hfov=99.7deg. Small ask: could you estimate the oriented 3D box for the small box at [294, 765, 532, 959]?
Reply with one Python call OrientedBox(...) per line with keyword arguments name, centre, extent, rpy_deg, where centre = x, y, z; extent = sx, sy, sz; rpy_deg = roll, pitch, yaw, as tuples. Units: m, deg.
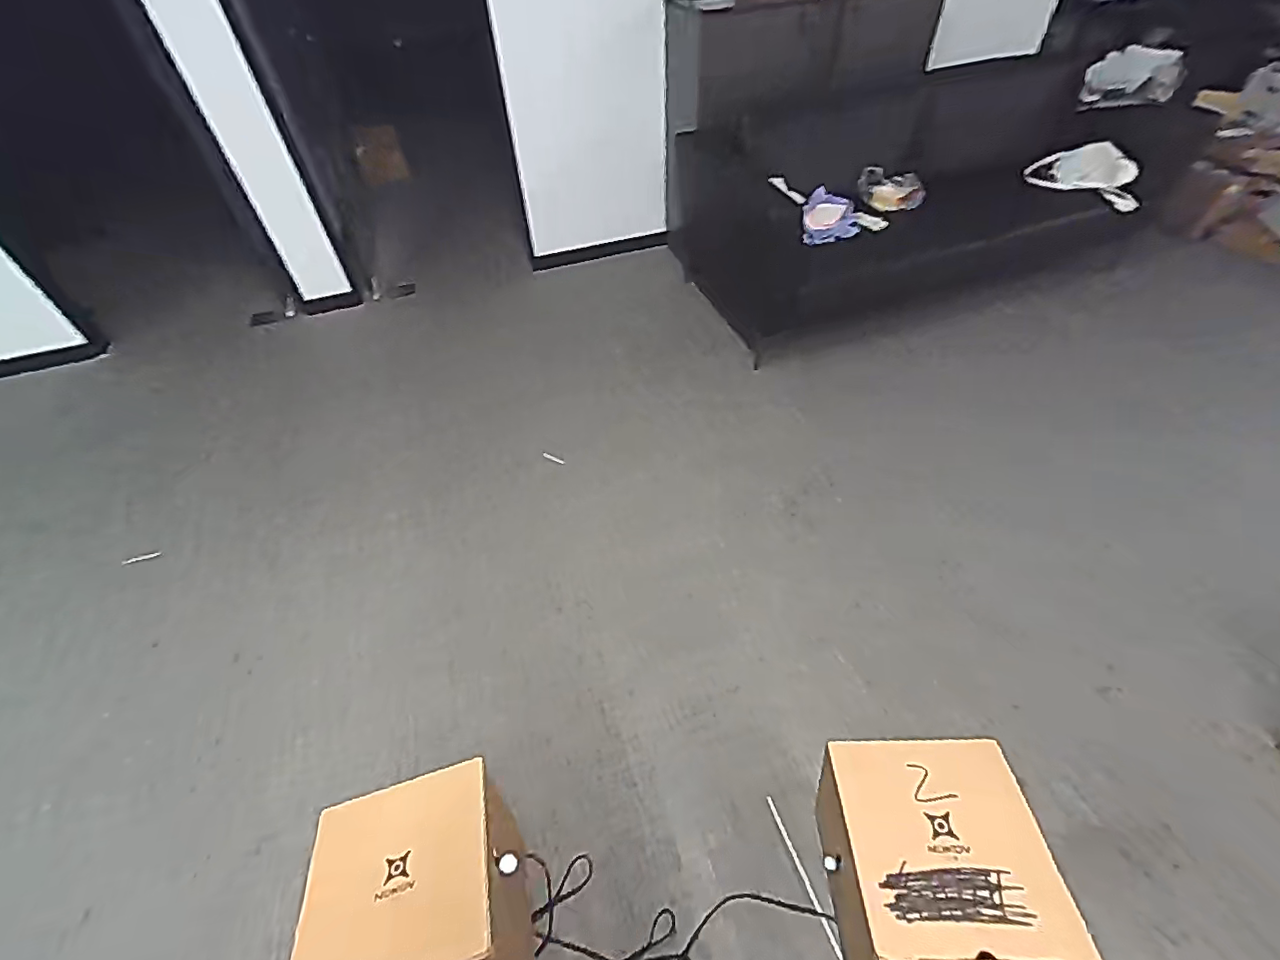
OrientedBox(name="small box", centre=(-0.211, 0.434, 0.540), extent=(0.168, 0.176, 0.179), rpy_deg=(-16, 34, -9))
